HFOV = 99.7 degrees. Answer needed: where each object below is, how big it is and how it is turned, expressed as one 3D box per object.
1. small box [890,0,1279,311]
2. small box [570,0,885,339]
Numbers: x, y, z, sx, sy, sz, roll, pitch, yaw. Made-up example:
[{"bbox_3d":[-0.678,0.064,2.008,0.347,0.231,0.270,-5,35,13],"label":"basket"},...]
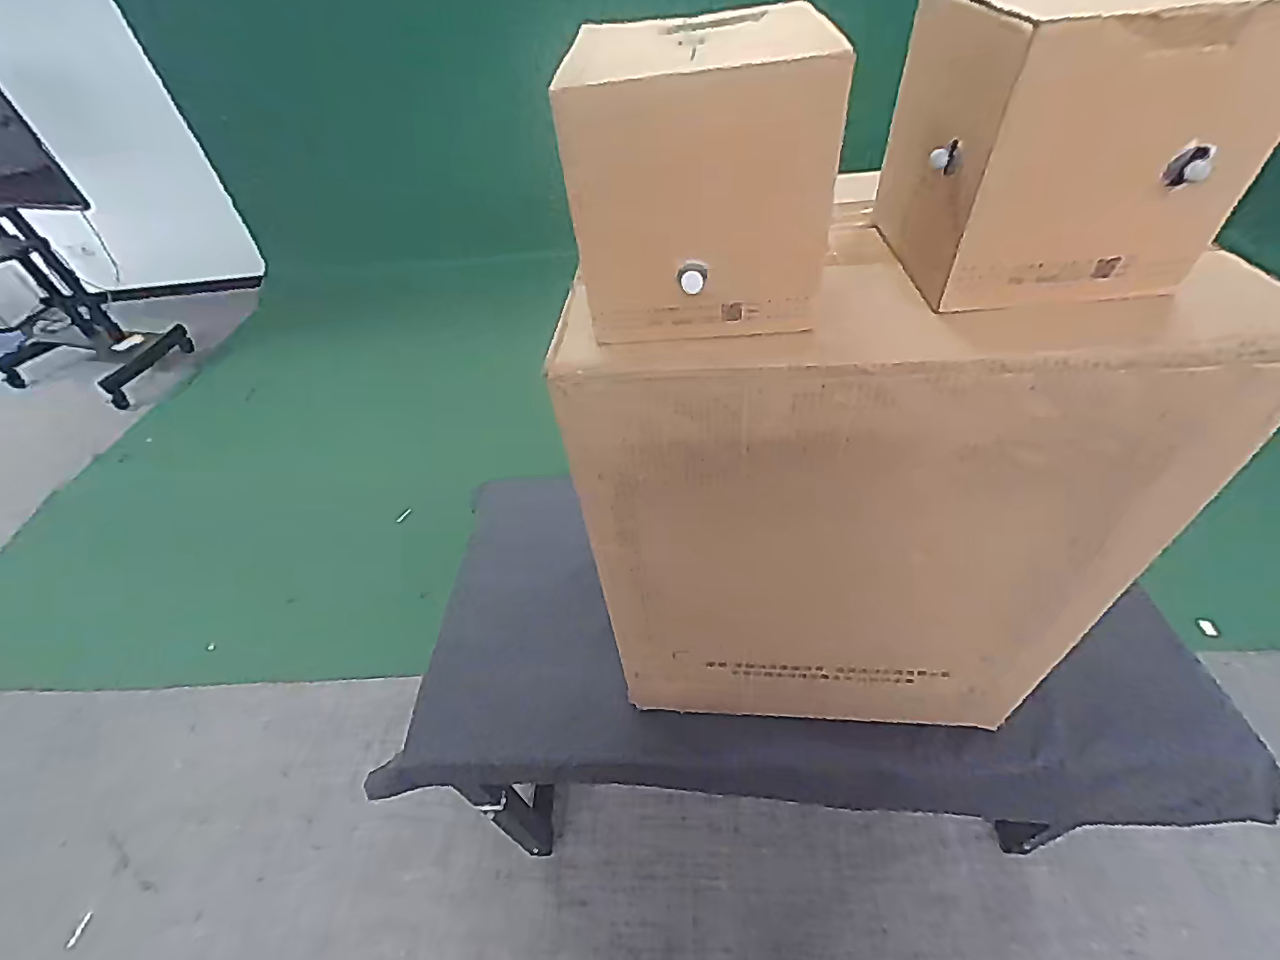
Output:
[{"bbox_3d":[0.304,-0.233,0.384,0.168,0.176,0.179,-2,47,1],"label":"small box"},{"bbox_3d":[0.058,-0.221,0.393,0.168,0.176,0.179,0,48,8],"label":"small box"}]
